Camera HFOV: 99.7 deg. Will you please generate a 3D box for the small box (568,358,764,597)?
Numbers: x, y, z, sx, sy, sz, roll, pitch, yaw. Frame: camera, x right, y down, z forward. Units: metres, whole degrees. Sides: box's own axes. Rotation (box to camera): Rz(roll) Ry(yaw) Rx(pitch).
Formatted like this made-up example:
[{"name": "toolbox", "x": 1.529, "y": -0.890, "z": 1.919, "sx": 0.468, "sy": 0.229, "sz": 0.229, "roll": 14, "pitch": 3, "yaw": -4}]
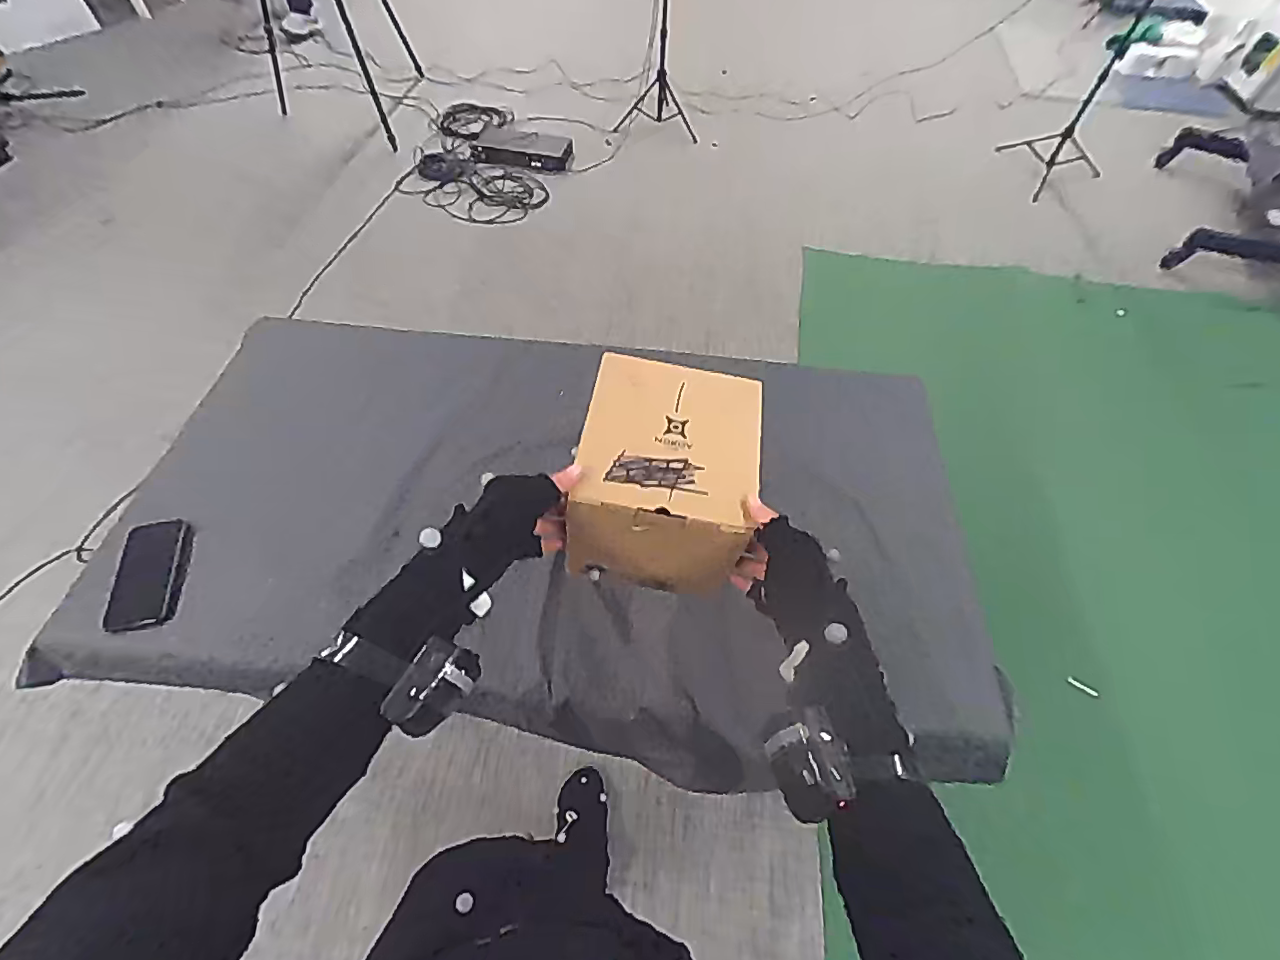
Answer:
[{"name": "small box", "x": 0.024, "y": 0.005, "z": 0.569, "sx": 0.168, "sy": 0.176, "sz": 0.179, "roll": 11, "pitch": 56, "yaw": -1}]
